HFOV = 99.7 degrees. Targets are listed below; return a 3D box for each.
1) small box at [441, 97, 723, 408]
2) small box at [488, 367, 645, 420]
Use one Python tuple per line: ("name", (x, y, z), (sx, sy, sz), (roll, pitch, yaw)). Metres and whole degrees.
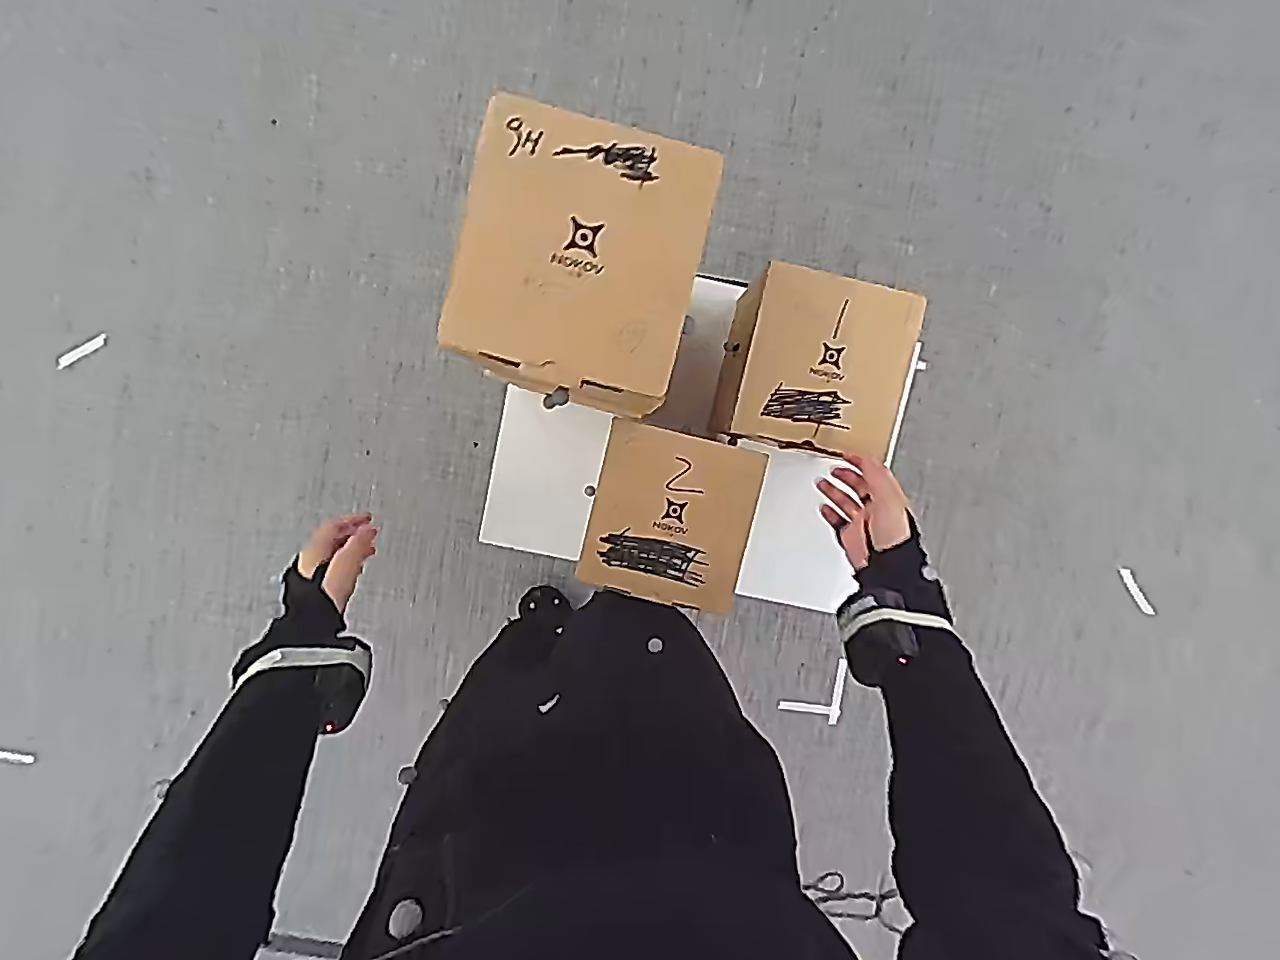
("small box", (-0.043, -0.163, 0.453), (0.168, 0.176, 0.179), (14, 95, -3))
("small box", (-0.055, -0.171, 0.617), (0.168, 0.176, 0.179), (15, 94, -3))
